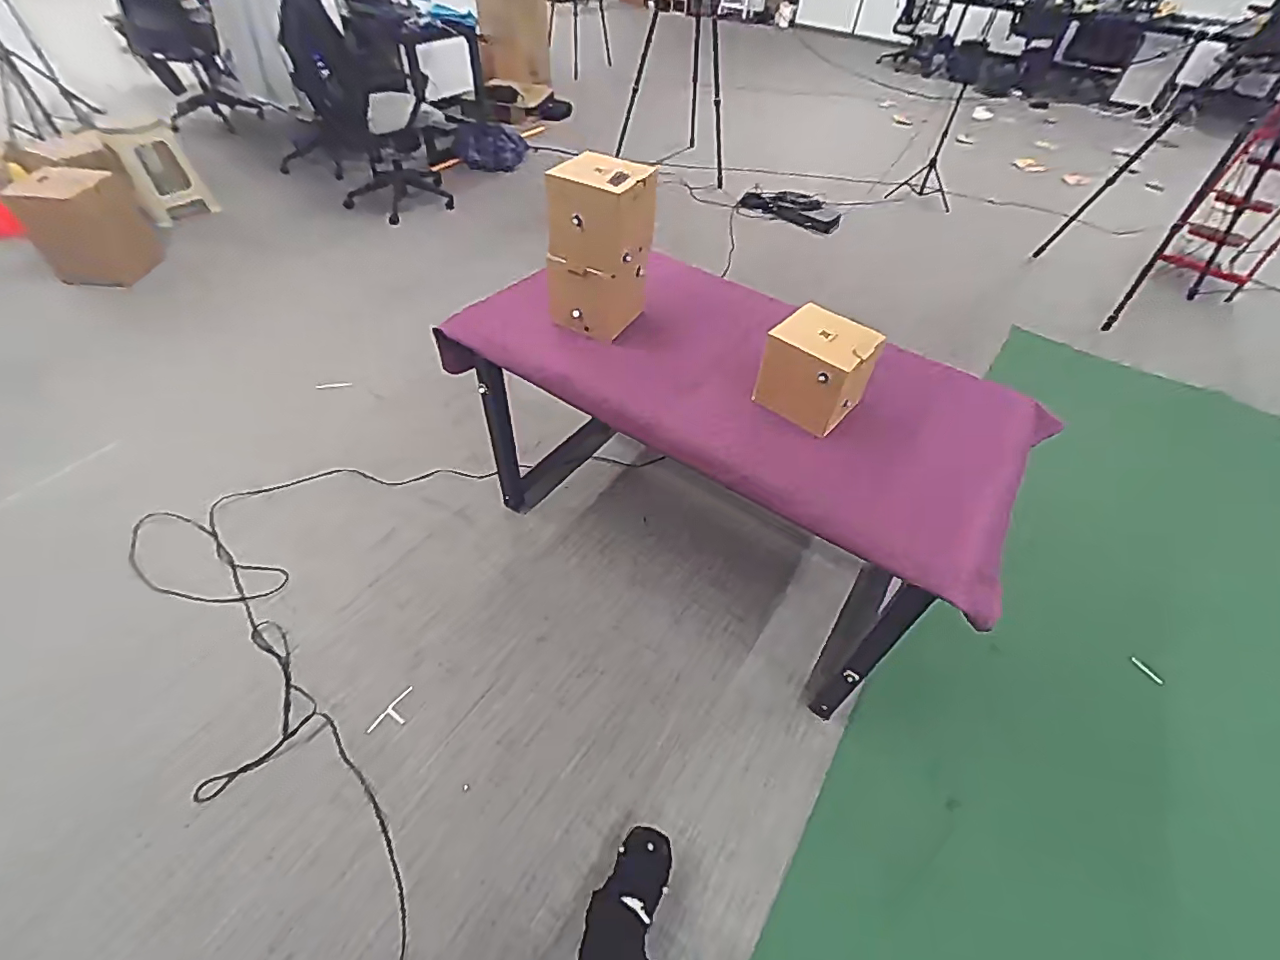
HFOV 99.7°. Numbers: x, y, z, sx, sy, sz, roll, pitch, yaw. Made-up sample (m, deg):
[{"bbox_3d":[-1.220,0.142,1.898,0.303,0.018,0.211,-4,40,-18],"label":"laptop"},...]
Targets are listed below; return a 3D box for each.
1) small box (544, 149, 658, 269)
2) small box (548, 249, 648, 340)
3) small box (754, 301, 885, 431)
[{"bbox_3d":[-0.082,-0.570,1.147,0.179,0.176,0.168,26,50,18],"label":"small box"},{"bbox_3d":[-0.098,-0.460,1.272,0.168,0.176,0.179,24,51,17],"label":"small box"},{"bbox_3d":[0.355,-0.229,1.100,0.179,0.176,0.168,34,55,24],"label":"small box"}]
